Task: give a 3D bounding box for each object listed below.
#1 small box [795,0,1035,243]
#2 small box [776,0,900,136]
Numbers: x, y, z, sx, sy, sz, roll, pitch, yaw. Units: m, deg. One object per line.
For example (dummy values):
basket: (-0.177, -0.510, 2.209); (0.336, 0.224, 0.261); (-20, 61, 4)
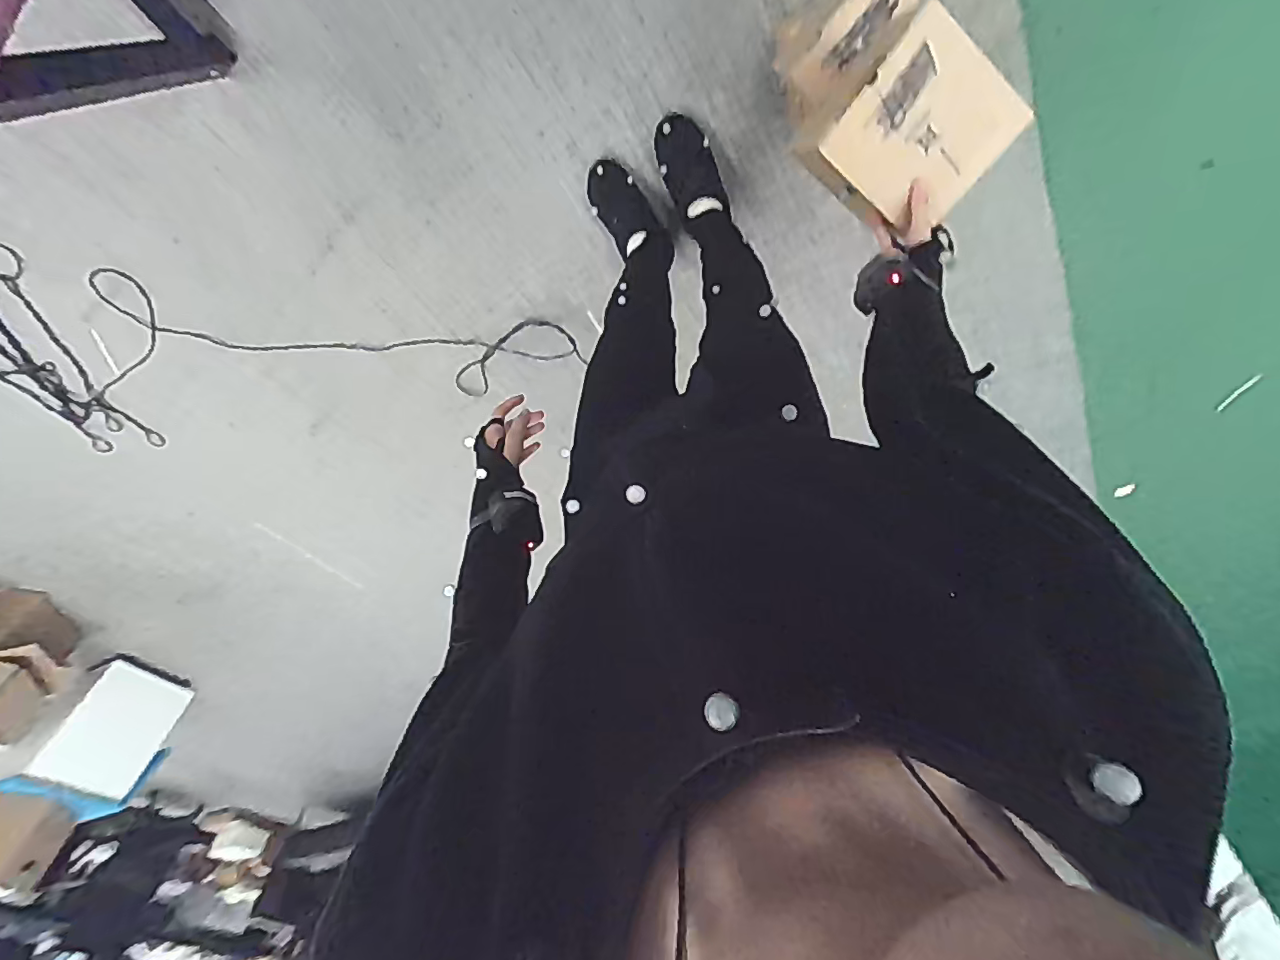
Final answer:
small box: (0.321, -0.427, 0.671); (0.179, 0.176, 0.168); (33, 117, -17)
small box: (0.346, -0.739, 0.955); (0.179, 0.176, 0.168); (-16, 130, 17)
